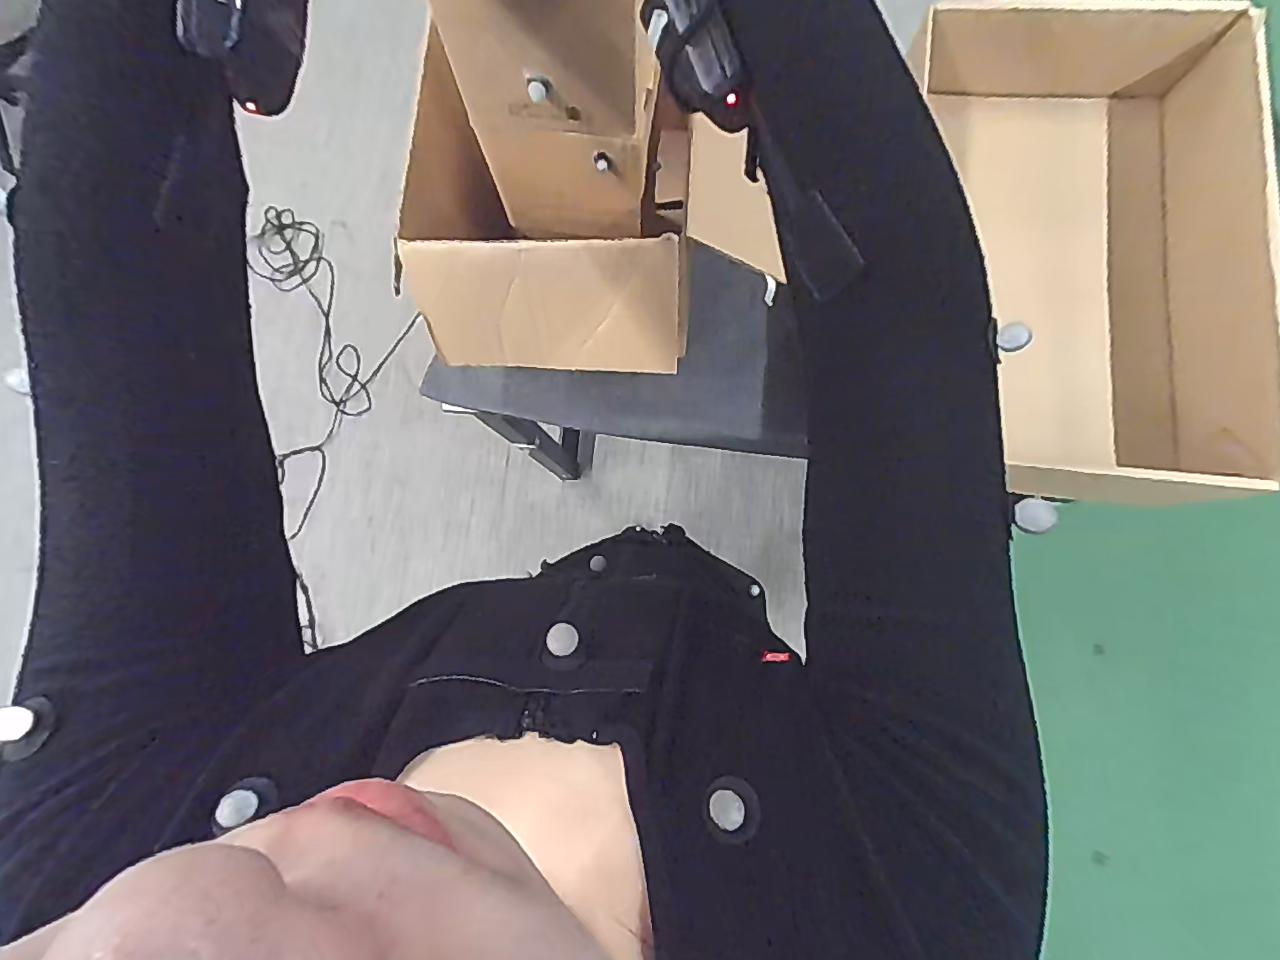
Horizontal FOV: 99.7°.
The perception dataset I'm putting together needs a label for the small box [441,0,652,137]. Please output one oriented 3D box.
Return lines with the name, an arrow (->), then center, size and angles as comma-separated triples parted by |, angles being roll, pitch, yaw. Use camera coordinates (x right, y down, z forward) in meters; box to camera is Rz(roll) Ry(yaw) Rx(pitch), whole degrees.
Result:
small box -> -0.075, -0.443, 0.467 | 0.168, 0.176, 0.179 | 5, 80, 1
